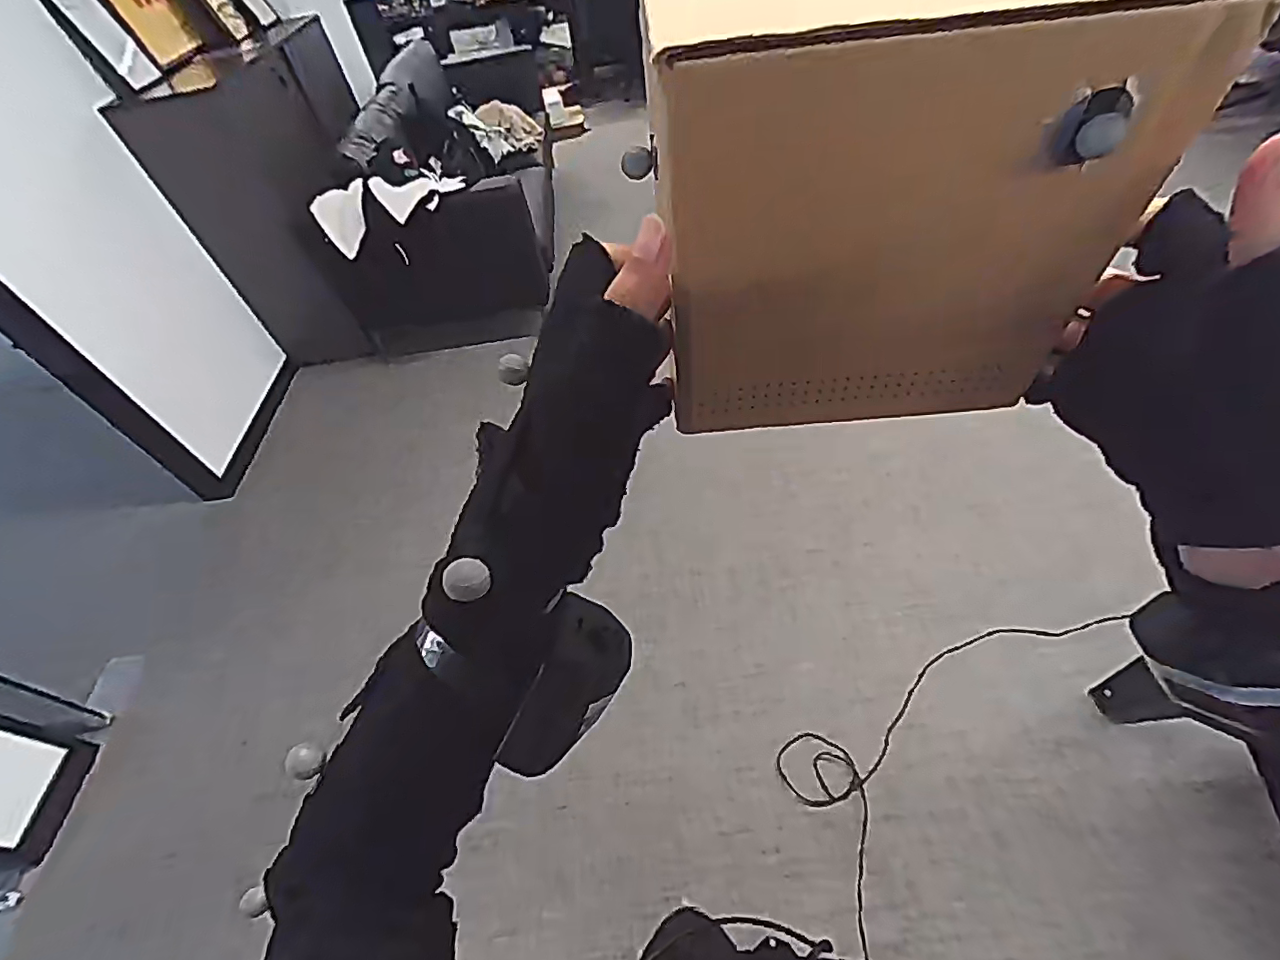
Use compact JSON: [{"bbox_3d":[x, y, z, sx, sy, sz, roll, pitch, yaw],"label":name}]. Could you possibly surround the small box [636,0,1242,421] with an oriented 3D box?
[{"bbox_3d":[0.094,-0.144,0.269,0.179,0.176,0.168,-4,54,2],"label":"small box"}]
